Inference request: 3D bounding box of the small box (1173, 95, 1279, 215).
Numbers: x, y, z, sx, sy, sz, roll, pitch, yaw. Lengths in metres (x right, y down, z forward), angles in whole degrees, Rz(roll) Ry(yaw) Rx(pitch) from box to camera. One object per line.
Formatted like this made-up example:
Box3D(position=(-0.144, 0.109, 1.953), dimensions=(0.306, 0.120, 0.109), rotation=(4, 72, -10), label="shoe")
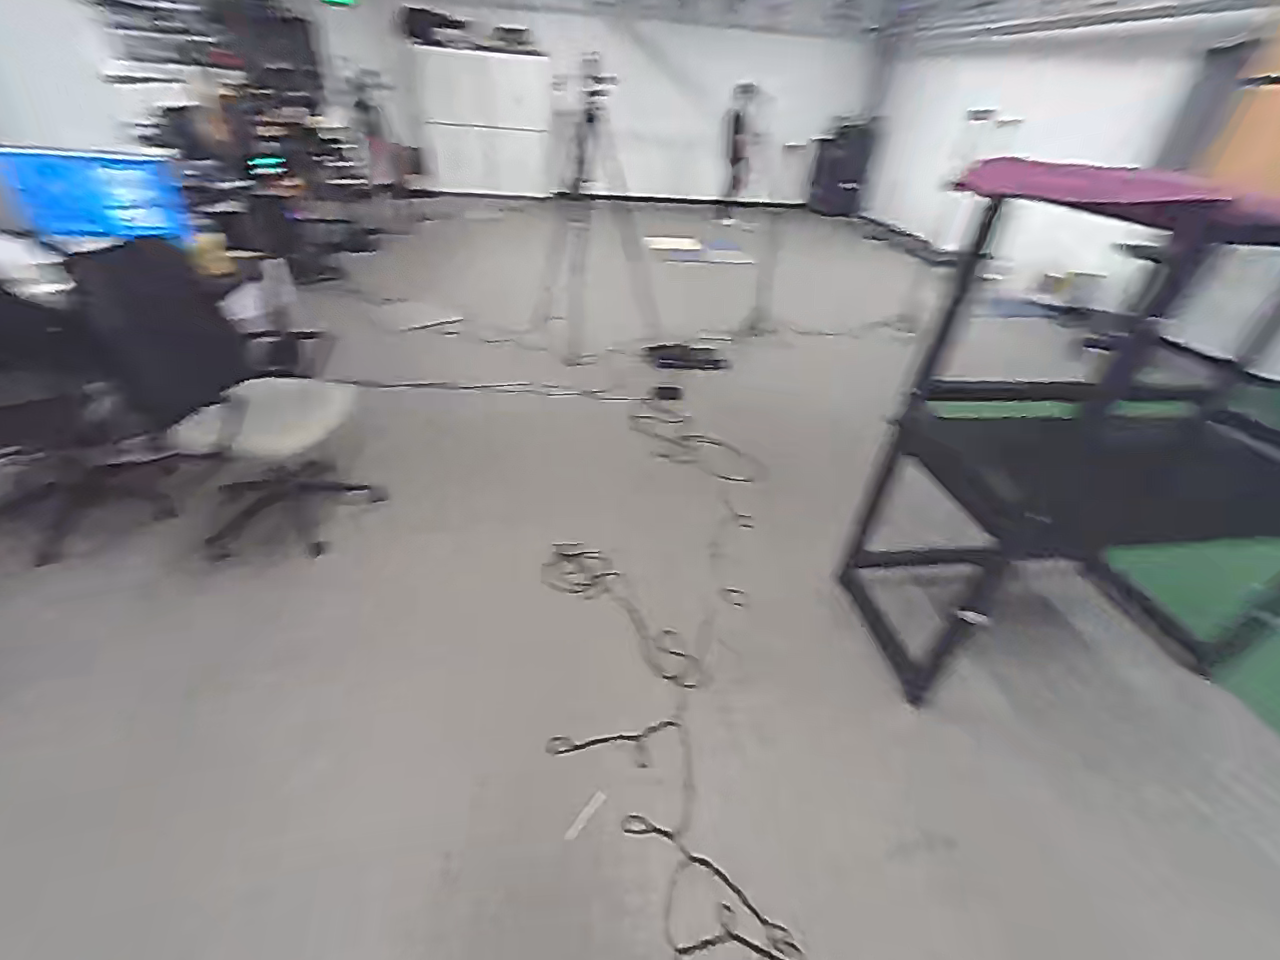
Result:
Box3D(position=(1.126, -0.565, 0.949), dimensions=(0.168, 0.176, 0.179), rotation=(-2, 35, -12), label="small box")
